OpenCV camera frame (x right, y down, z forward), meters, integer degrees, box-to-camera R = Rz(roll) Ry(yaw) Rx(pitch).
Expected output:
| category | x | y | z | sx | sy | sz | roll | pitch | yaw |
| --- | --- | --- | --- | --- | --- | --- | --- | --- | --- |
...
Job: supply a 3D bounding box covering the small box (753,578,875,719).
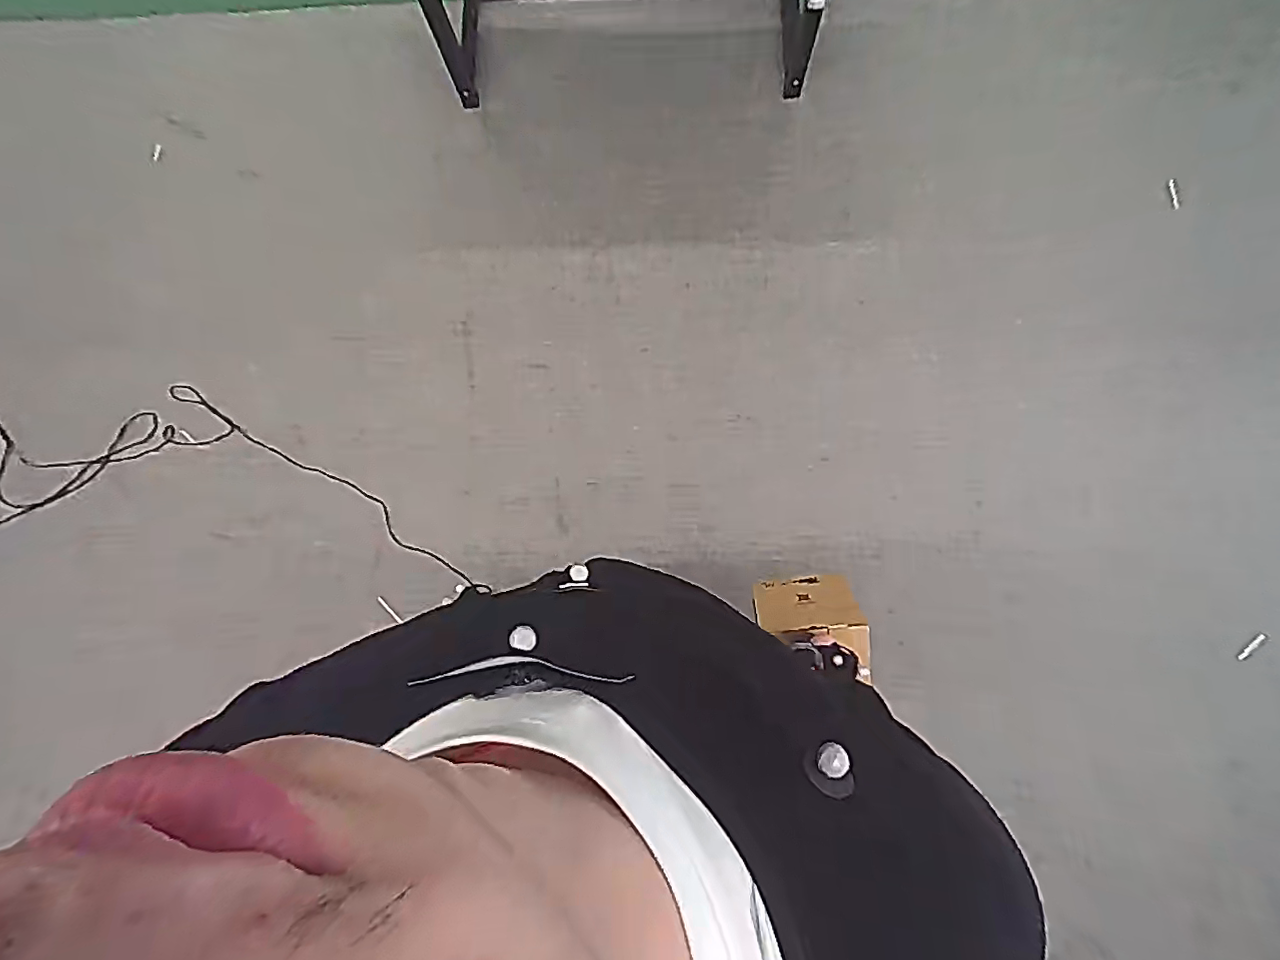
| category | x | y | z | sx | sy | sz | roll | pitch | yaw |
| --- | --- | --- | --- | --- | --- | --- | --- | --- | --- |
| small box | 0.295 | 0.291 | 0.932 | 0.168 | 0.179 | 0.176 | -7 | 105 | 7 |
